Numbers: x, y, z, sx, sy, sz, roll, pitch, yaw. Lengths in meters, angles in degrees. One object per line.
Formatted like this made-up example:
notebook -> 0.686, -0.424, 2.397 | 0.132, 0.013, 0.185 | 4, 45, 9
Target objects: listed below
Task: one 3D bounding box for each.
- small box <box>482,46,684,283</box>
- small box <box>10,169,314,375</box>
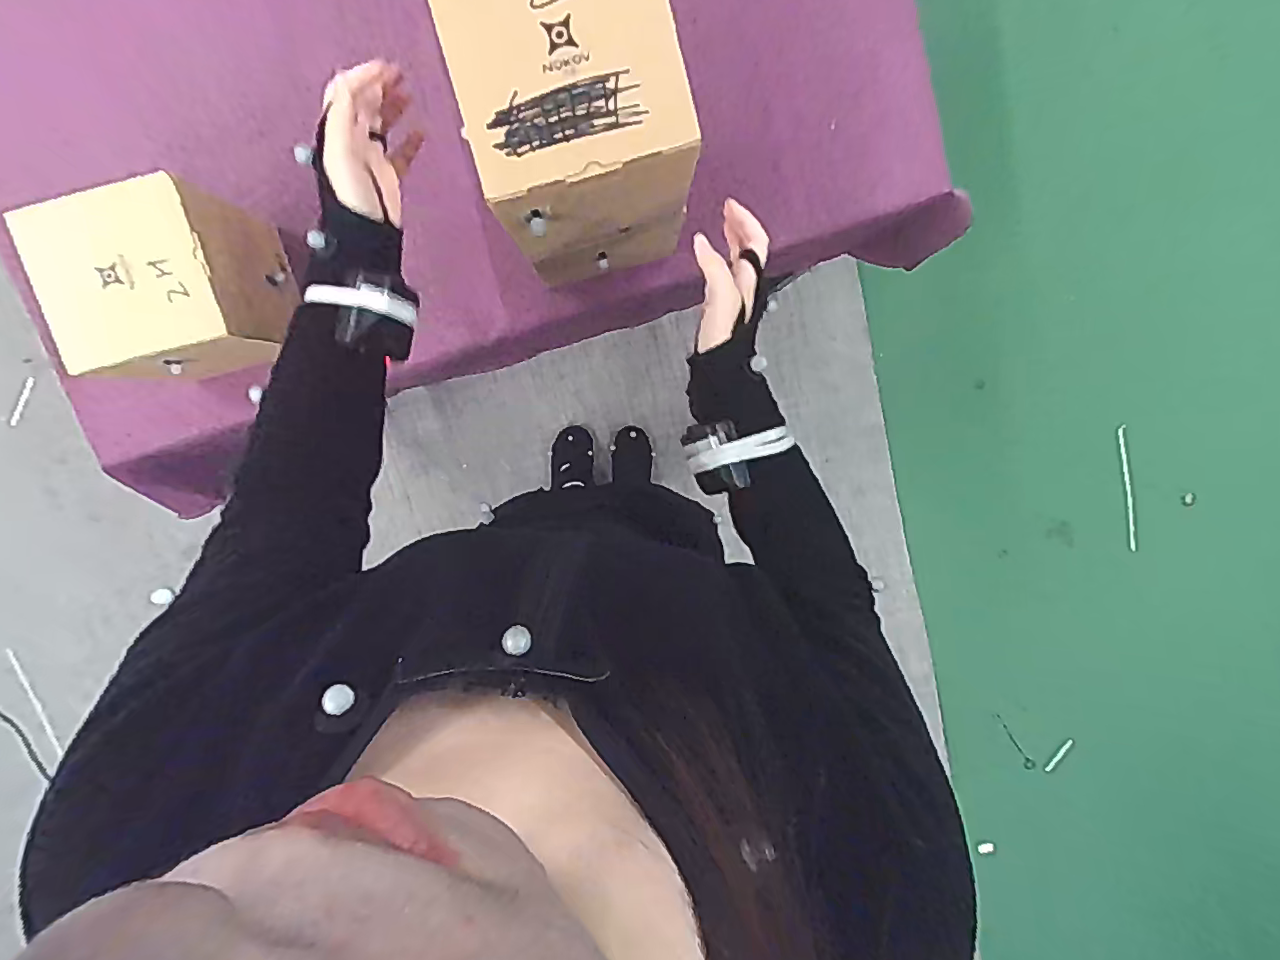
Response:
small box -> -0.059, -0.345, 0.627 | 0.179, 0.176, 0.168 | -14, 98, 1
small box -> -0.530, -0.224, 0.629 | 0.179, 0.176, 0.168 | -14, 99, 0
